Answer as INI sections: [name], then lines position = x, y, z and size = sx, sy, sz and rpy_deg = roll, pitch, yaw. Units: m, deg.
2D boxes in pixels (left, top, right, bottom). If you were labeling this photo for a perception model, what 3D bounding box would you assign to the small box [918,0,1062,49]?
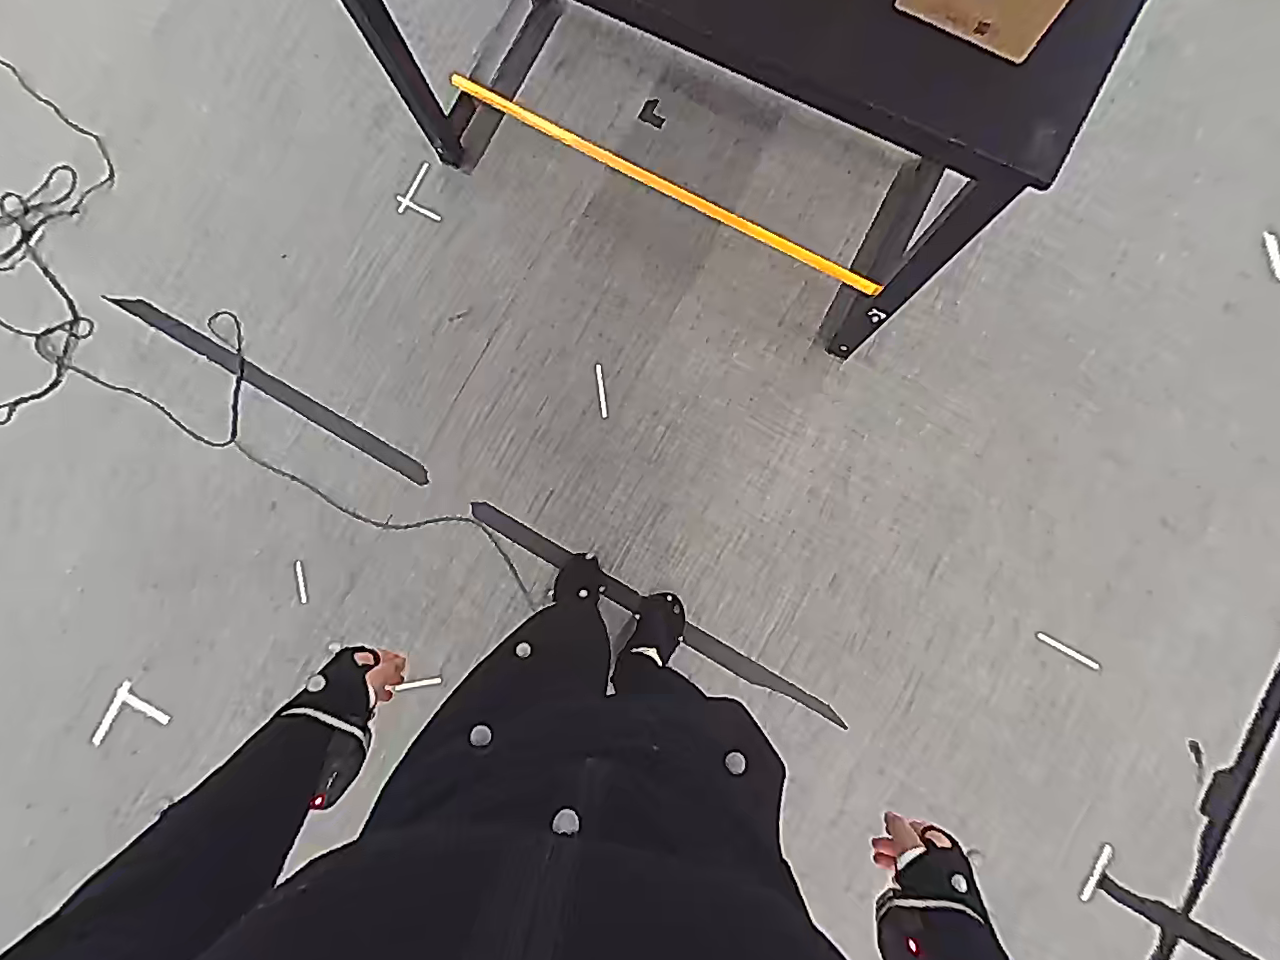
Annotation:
[small box]
position = 0.408, -0.608, 0.557
size = 0.168, 0.176, 0.179
rpy_deg = 30, 87, 6
